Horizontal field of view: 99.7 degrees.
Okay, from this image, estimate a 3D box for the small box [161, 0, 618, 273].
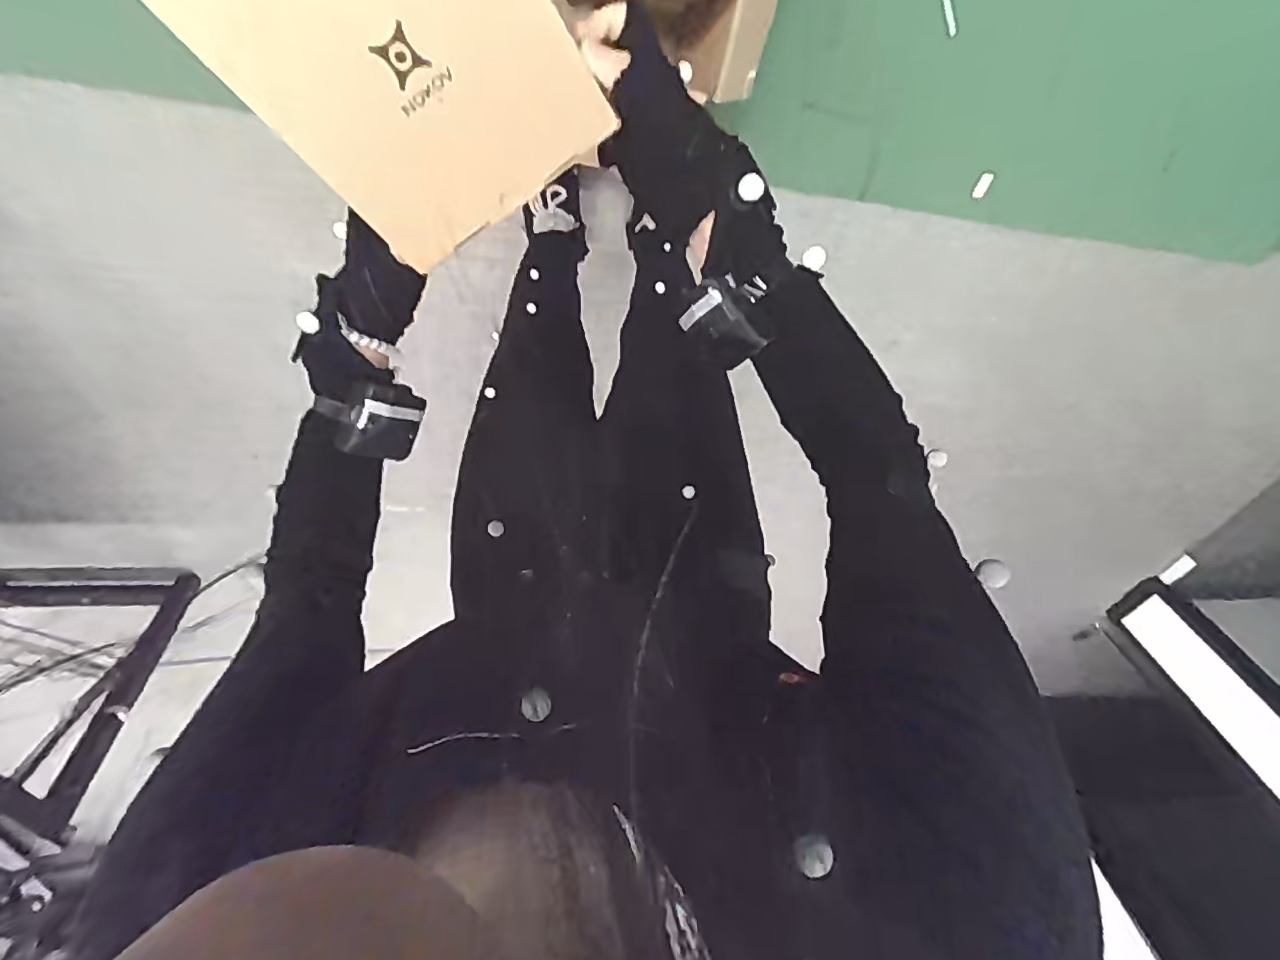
[{"bbox_3d":[-0.139,-0.281,0.350,0.168,0.176,0.179,-28,138,15],"label":"small box"}]
